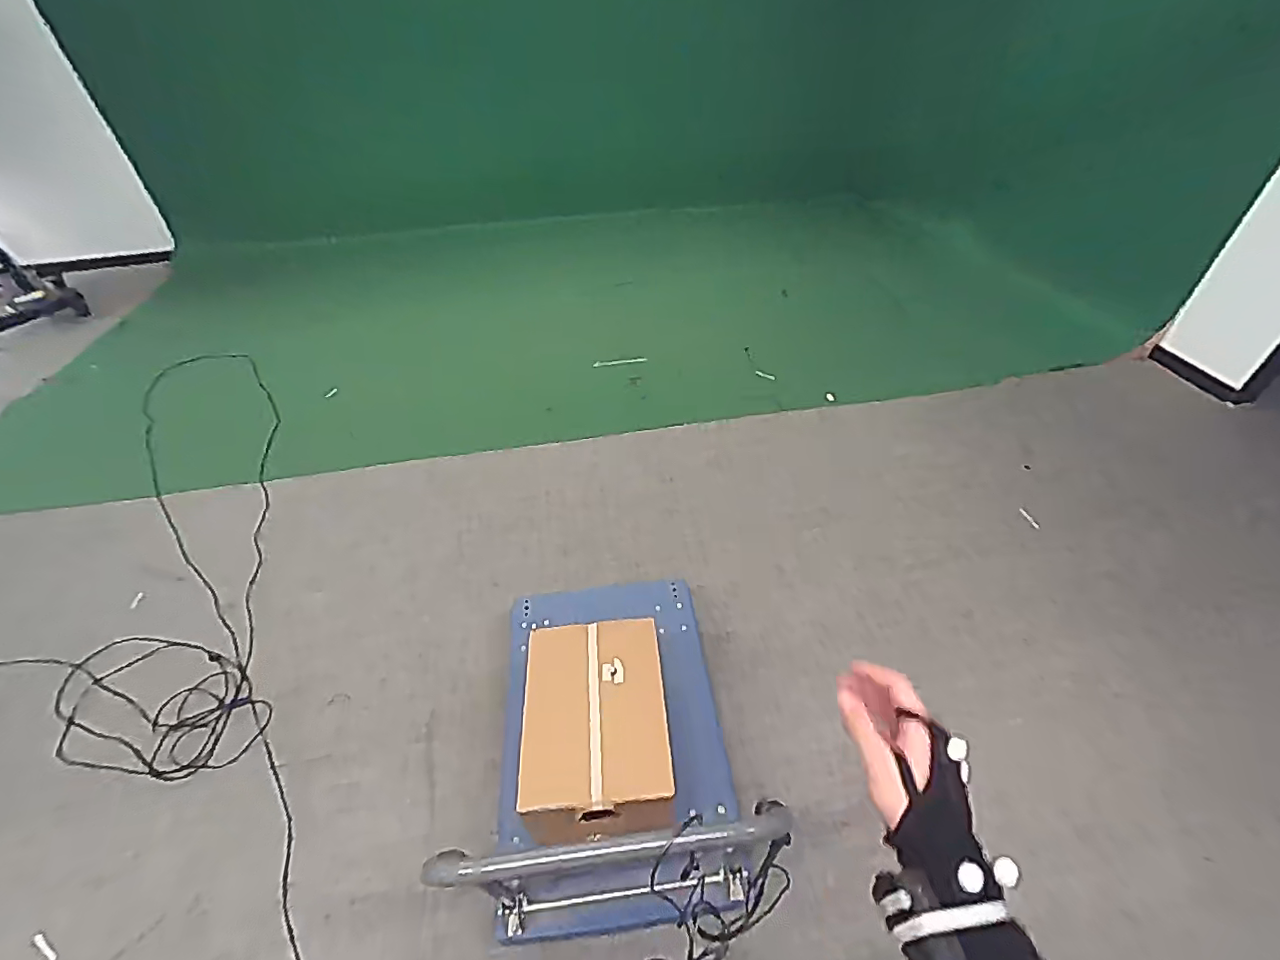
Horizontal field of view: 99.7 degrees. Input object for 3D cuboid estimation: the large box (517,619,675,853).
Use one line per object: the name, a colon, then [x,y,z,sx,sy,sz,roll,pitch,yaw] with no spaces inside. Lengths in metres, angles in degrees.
large box: [-0.097,0.599,1.285,0.320,0.320,0.408,-4,43,-2]
